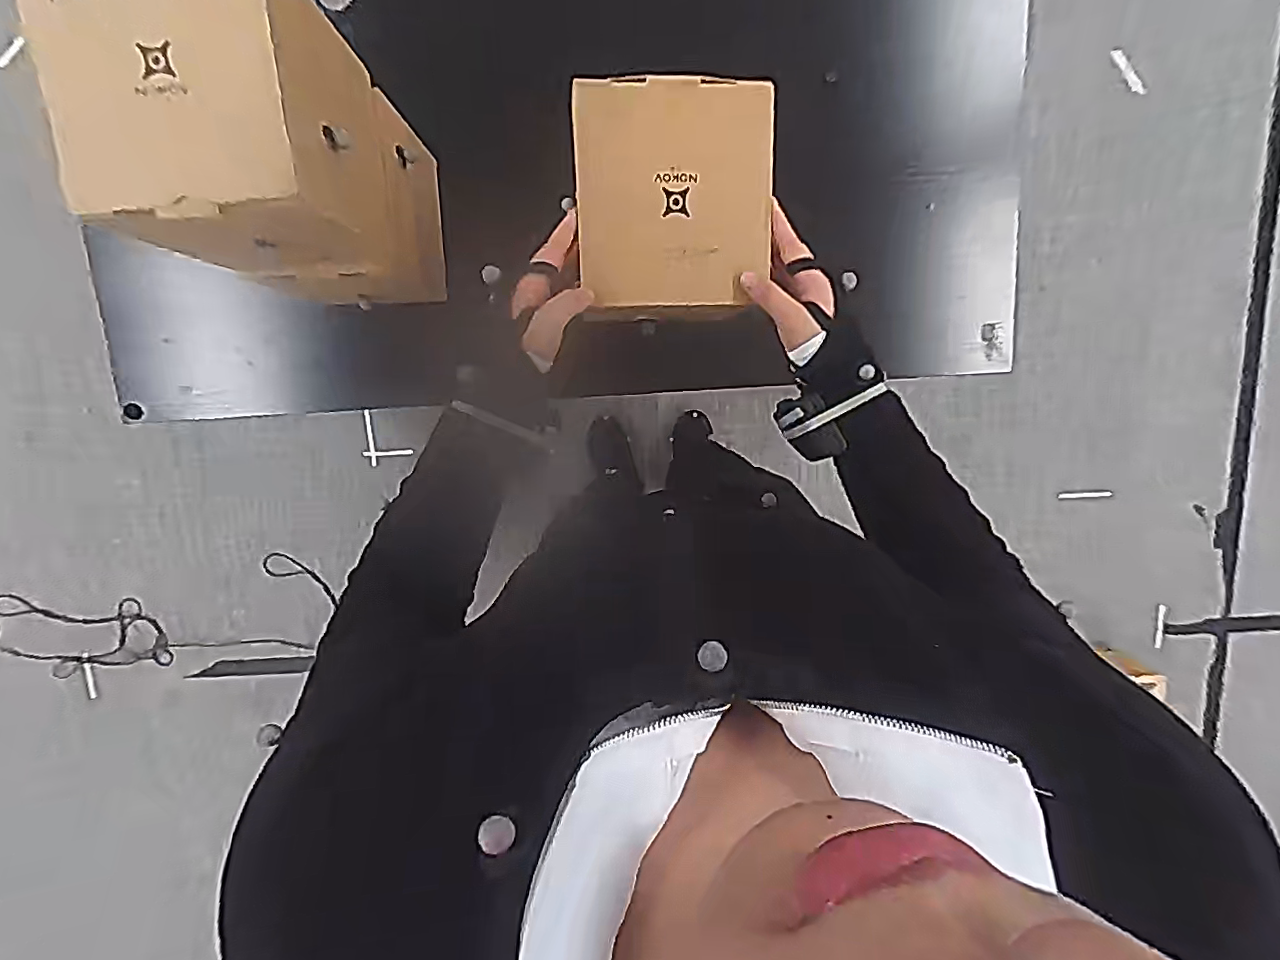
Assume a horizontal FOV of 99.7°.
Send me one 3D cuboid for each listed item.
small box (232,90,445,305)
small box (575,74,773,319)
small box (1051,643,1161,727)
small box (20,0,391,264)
[{"bbox_3d":[-0.333,-0.305,0.615,0.168,0.176,0.179,-2,99,-2],"label":"small box"},{"bbox_3d":[0.023,-0.256,0.529,0.168,0.176,0.179,-3,103,-4],"label":"small box"},{"bbox_3d":[1.334,0.585,1.561,0.168,0.176,0.179,0,101,-1],"label":"small box"},{"bbox_3d":[-0.330,-0.288,0.452,0.168,0.176,0.179,-5,100,-1],"label":"small box"}]
